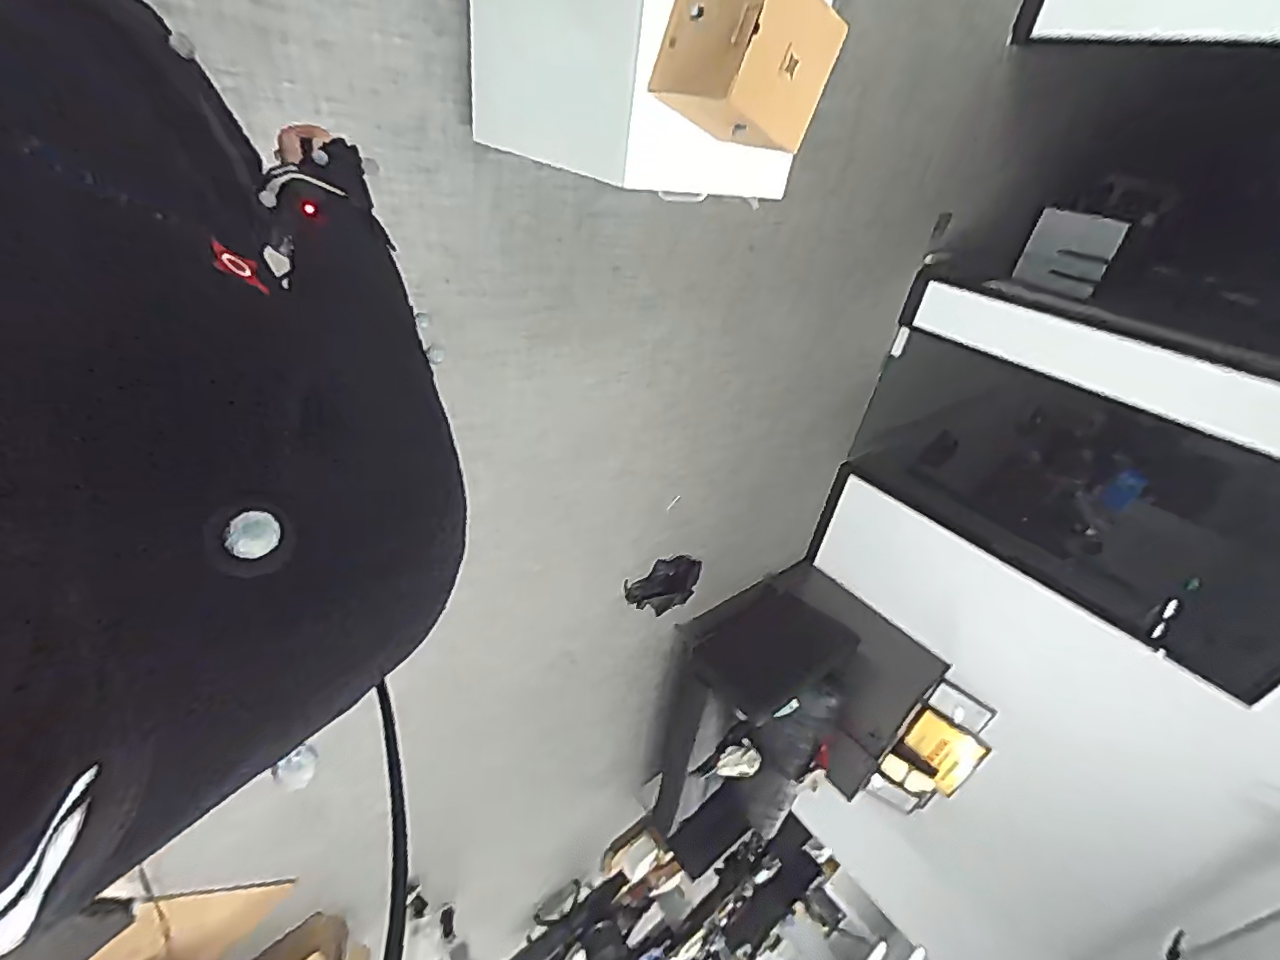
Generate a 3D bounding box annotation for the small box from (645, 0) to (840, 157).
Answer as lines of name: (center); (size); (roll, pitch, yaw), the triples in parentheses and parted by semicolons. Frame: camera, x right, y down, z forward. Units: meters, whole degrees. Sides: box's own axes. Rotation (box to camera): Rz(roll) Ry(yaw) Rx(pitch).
small box: (0.141, -0.595, 0.770); (0.179, 0.176, 0.168); (-2, 122, -45)
